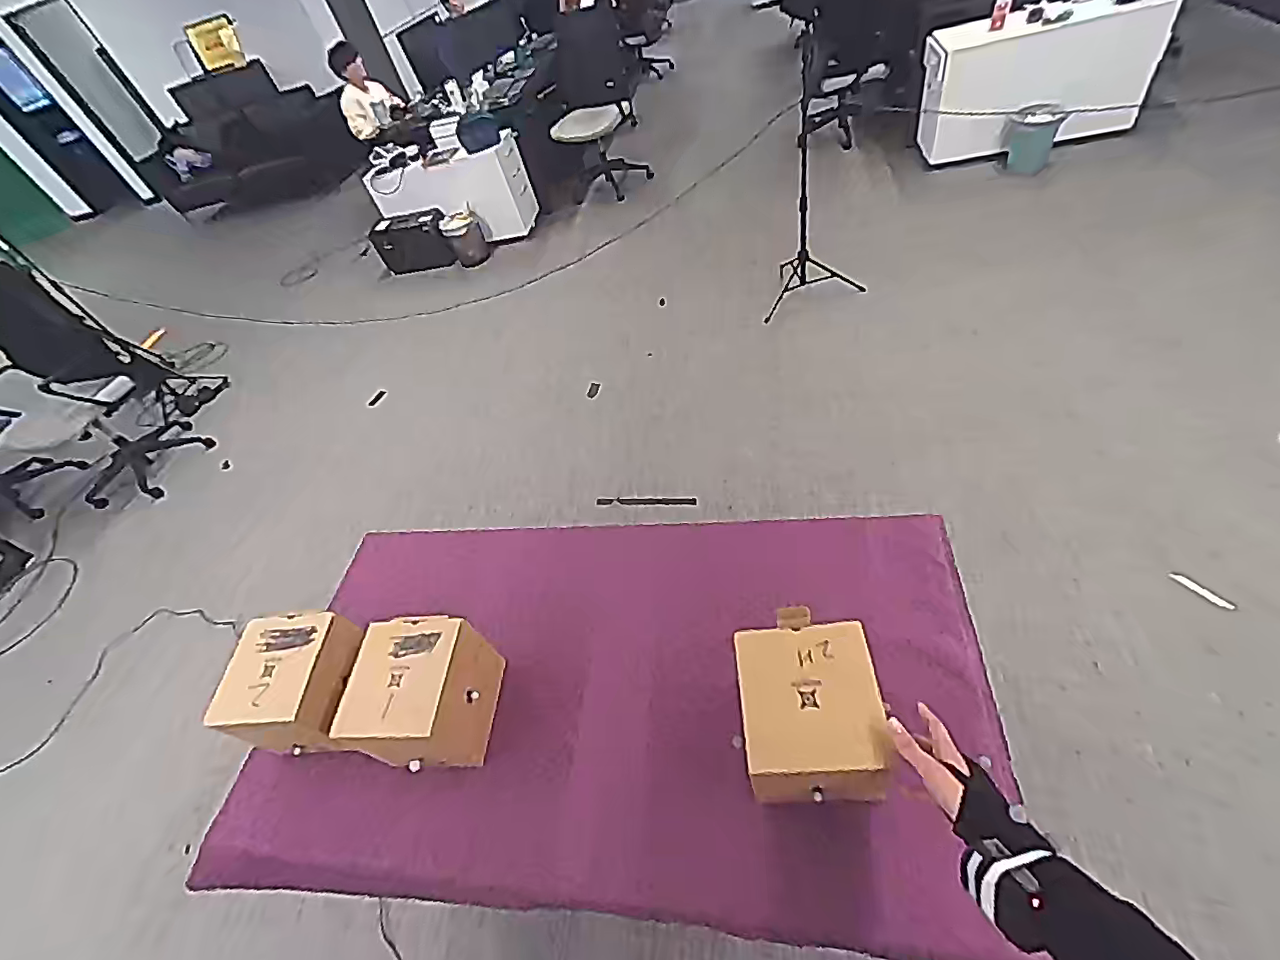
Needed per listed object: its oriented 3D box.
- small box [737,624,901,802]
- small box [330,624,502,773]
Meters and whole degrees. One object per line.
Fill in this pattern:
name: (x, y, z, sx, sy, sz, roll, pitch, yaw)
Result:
small box: (0.226, 0.312, 0.709, 0.168, 0.176, 0.179, -8, 48, 10)
small box: (-0.336, 0.347, 0.856, 0.168, 0.176, 0.179, -6, 50, 12)
